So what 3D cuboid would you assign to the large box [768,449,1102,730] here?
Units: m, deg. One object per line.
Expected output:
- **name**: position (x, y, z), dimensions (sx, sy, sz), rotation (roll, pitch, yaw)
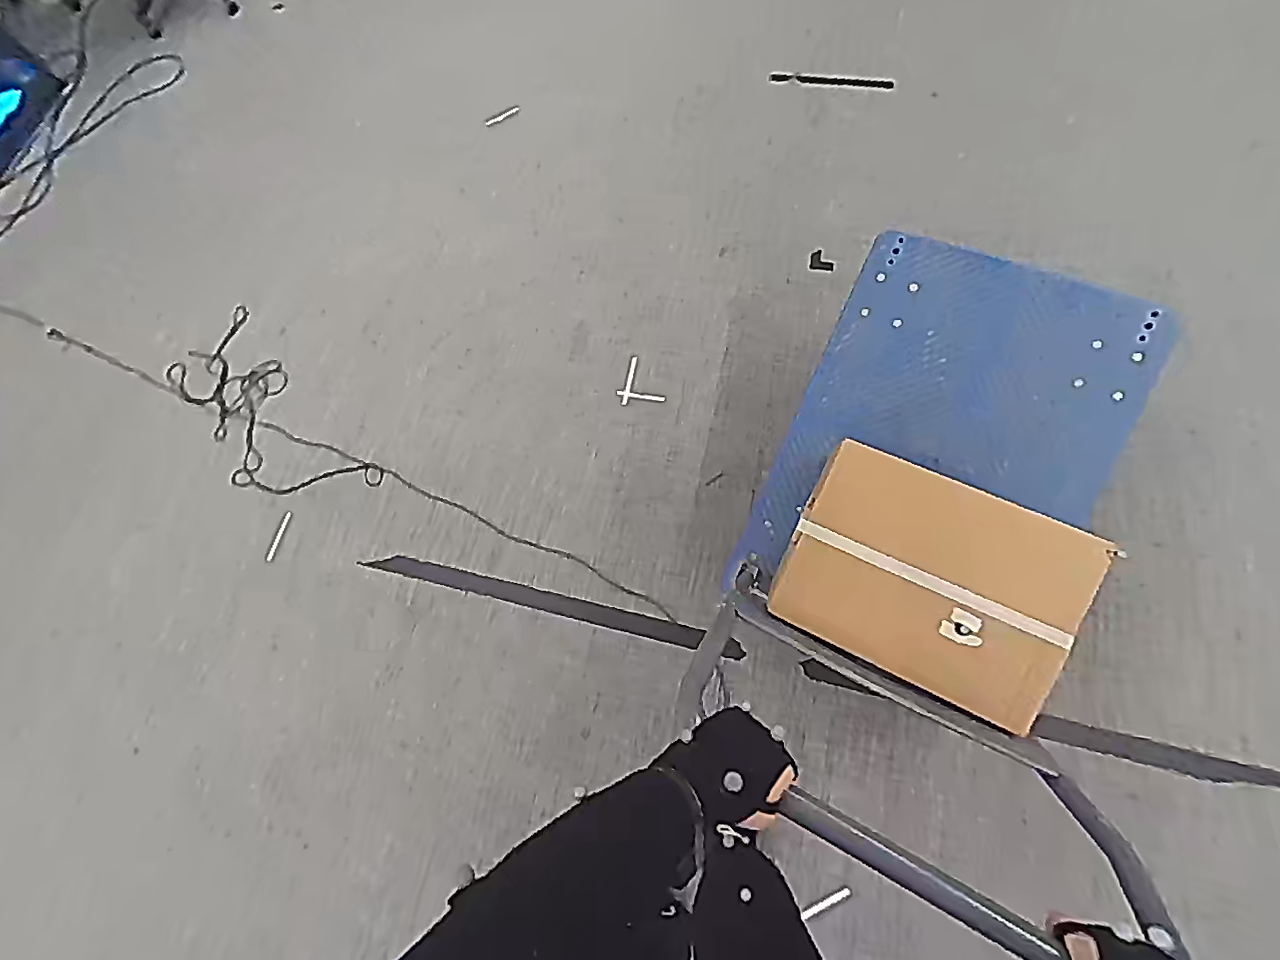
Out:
- **large box**: position (0.480, 0.169, 0.991), dimensions (0.408, 0.320, 0.320), rotation (24, 94, 14)
